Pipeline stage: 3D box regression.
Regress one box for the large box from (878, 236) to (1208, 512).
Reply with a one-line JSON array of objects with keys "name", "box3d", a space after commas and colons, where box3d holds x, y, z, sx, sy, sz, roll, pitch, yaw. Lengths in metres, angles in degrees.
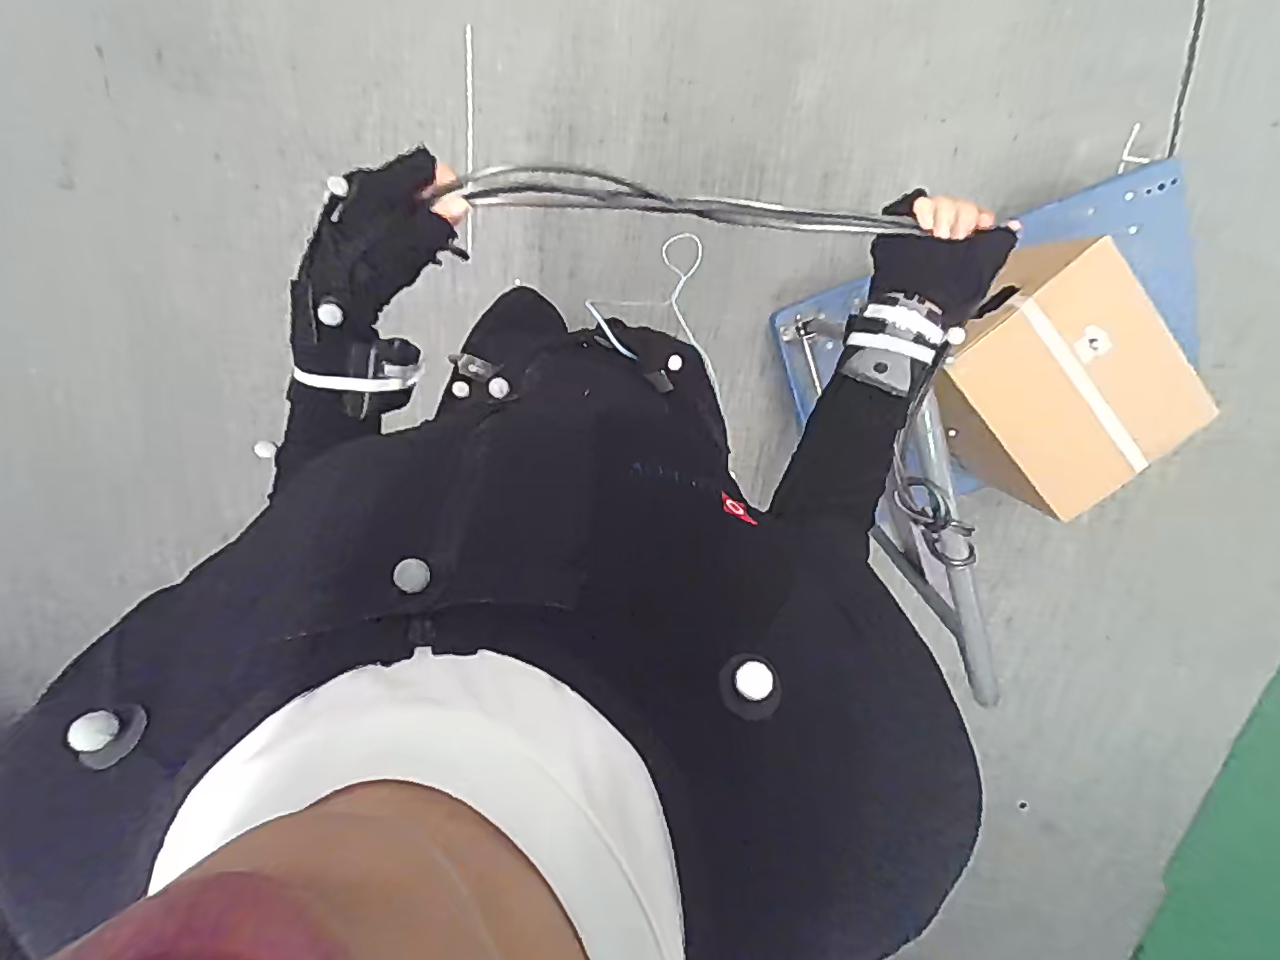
[{"name": "large box", "box3d": [0.776, -0.214, 1.100, 0.320, 0.320, 0.408, -41, 102, 13]}]
